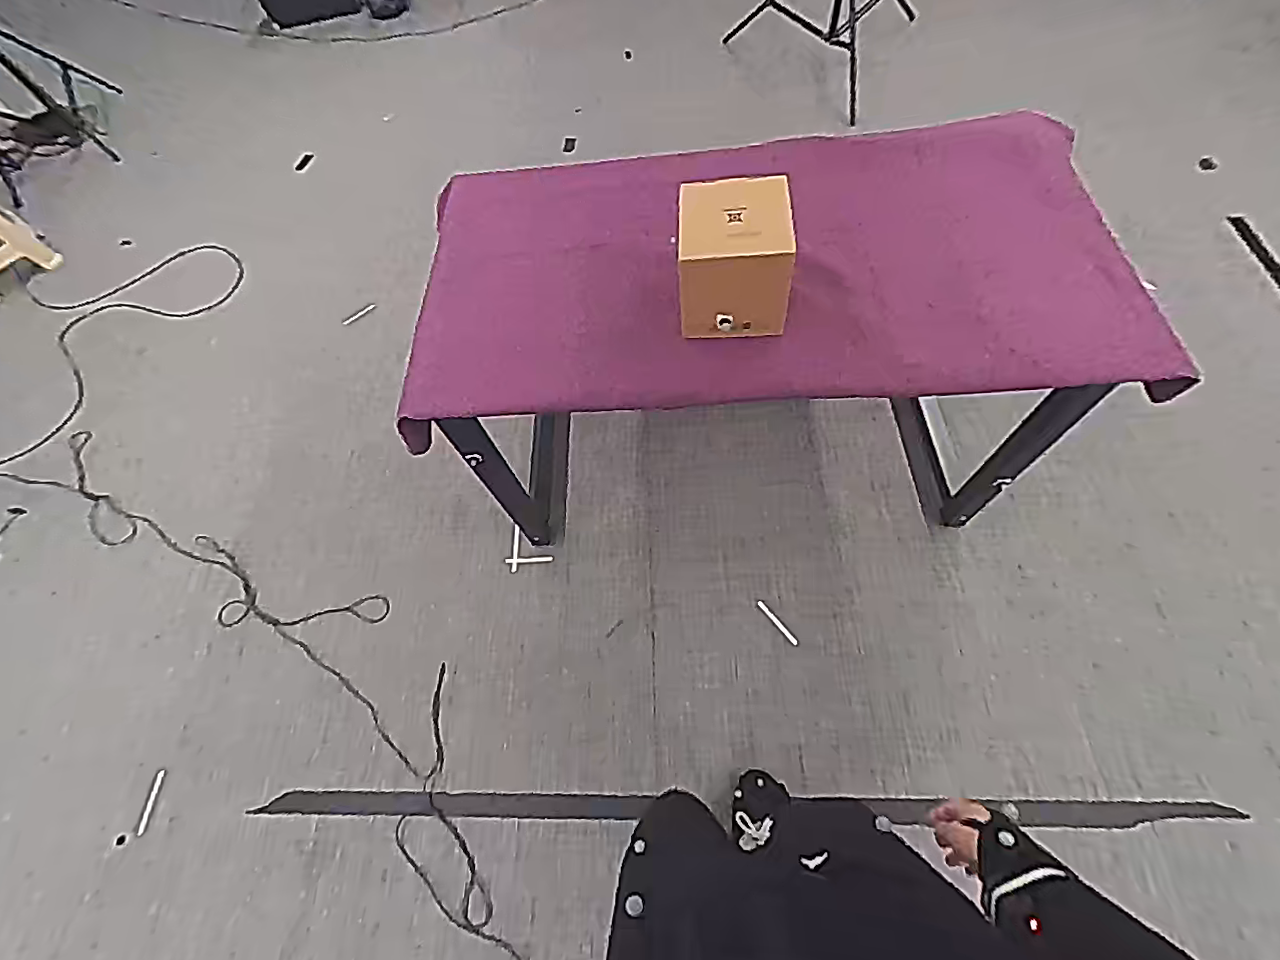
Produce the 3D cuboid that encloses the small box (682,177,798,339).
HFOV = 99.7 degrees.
[{"bbox_3d":[0.153,-0.351,0.870,0.168,0.176,0.179,-1,63,7],"label":"small box"}]
